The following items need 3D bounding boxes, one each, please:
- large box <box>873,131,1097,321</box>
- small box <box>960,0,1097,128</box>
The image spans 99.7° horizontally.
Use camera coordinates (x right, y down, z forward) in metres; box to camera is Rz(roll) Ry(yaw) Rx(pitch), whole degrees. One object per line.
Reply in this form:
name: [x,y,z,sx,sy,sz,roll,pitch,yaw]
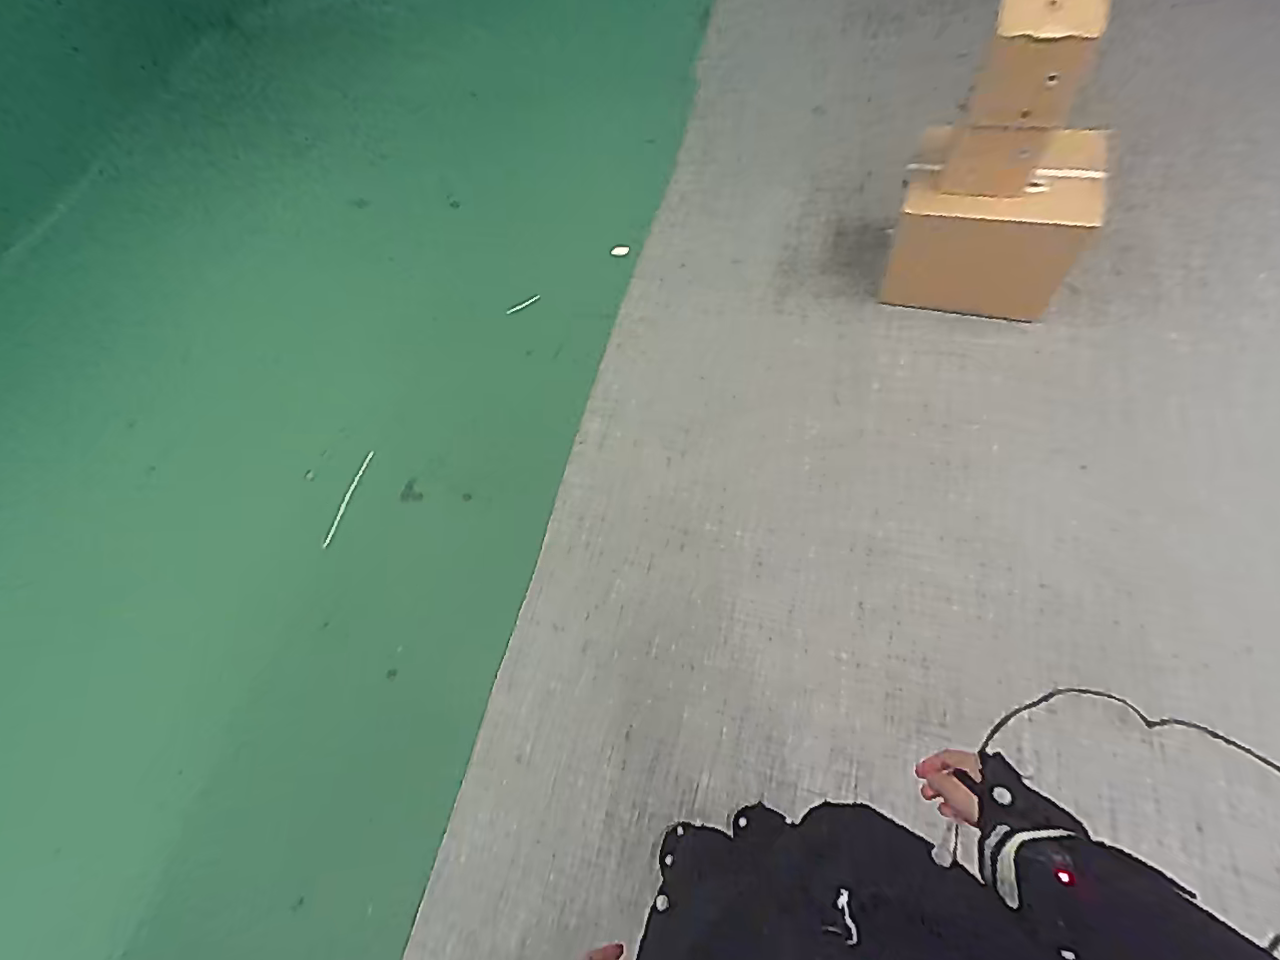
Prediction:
large box: [0.865,-0.654,1.407,0.408,0.320,0.320,14,70,16]
small box: [0.745,-0.819,1.052,0.168,0.176,0.179,14,68,15]
